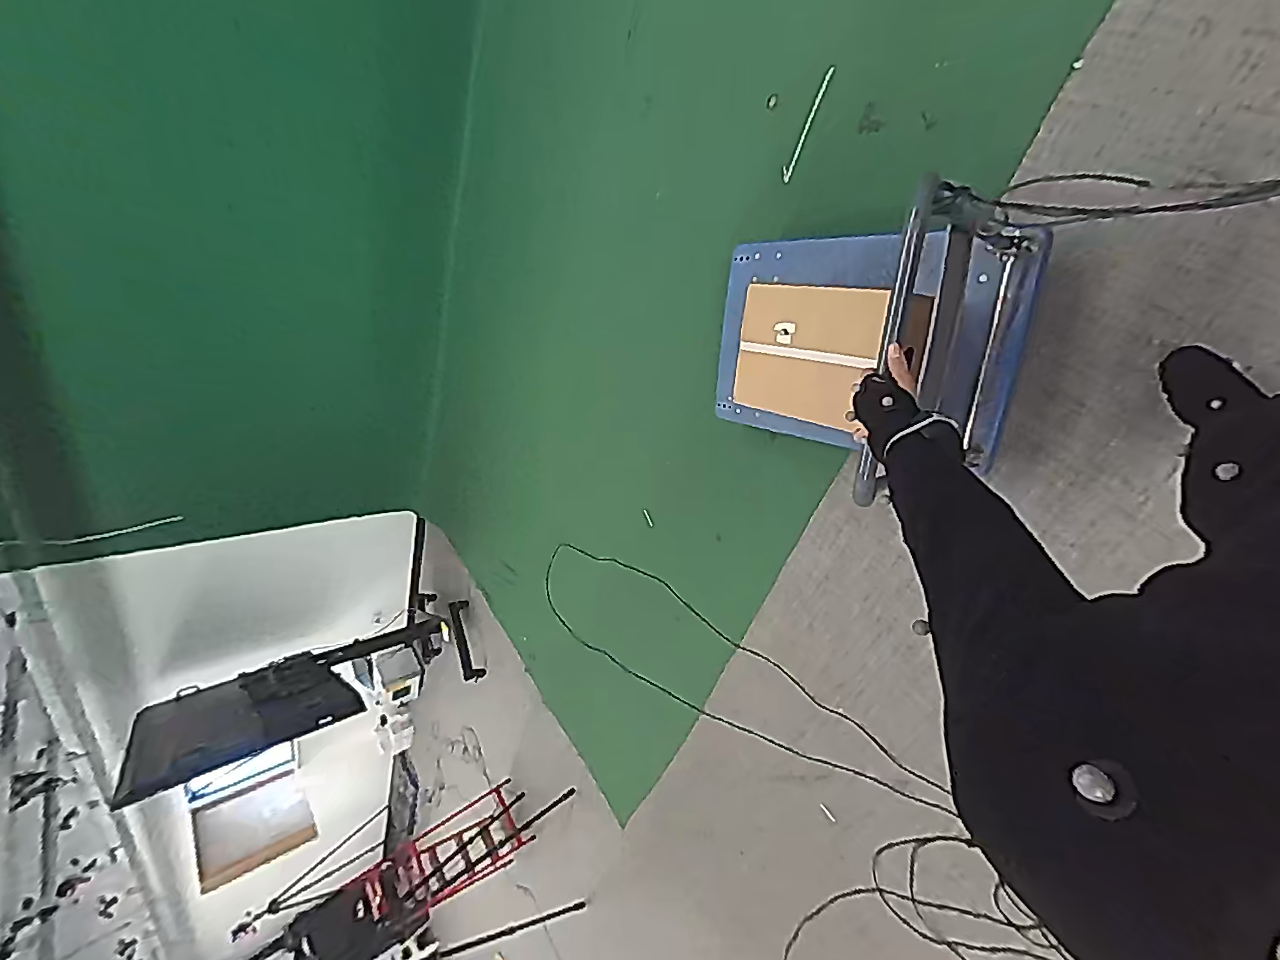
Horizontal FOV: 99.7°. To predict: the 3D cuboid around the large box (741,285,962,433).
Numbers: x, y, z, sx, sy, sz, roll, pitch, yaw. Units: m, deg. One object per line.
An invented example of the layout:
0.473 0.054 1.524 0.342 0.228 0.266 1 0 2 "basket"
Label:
0.528 -0.324 1.387 0.408 0.320 0.320 25 116 45 "large box"
